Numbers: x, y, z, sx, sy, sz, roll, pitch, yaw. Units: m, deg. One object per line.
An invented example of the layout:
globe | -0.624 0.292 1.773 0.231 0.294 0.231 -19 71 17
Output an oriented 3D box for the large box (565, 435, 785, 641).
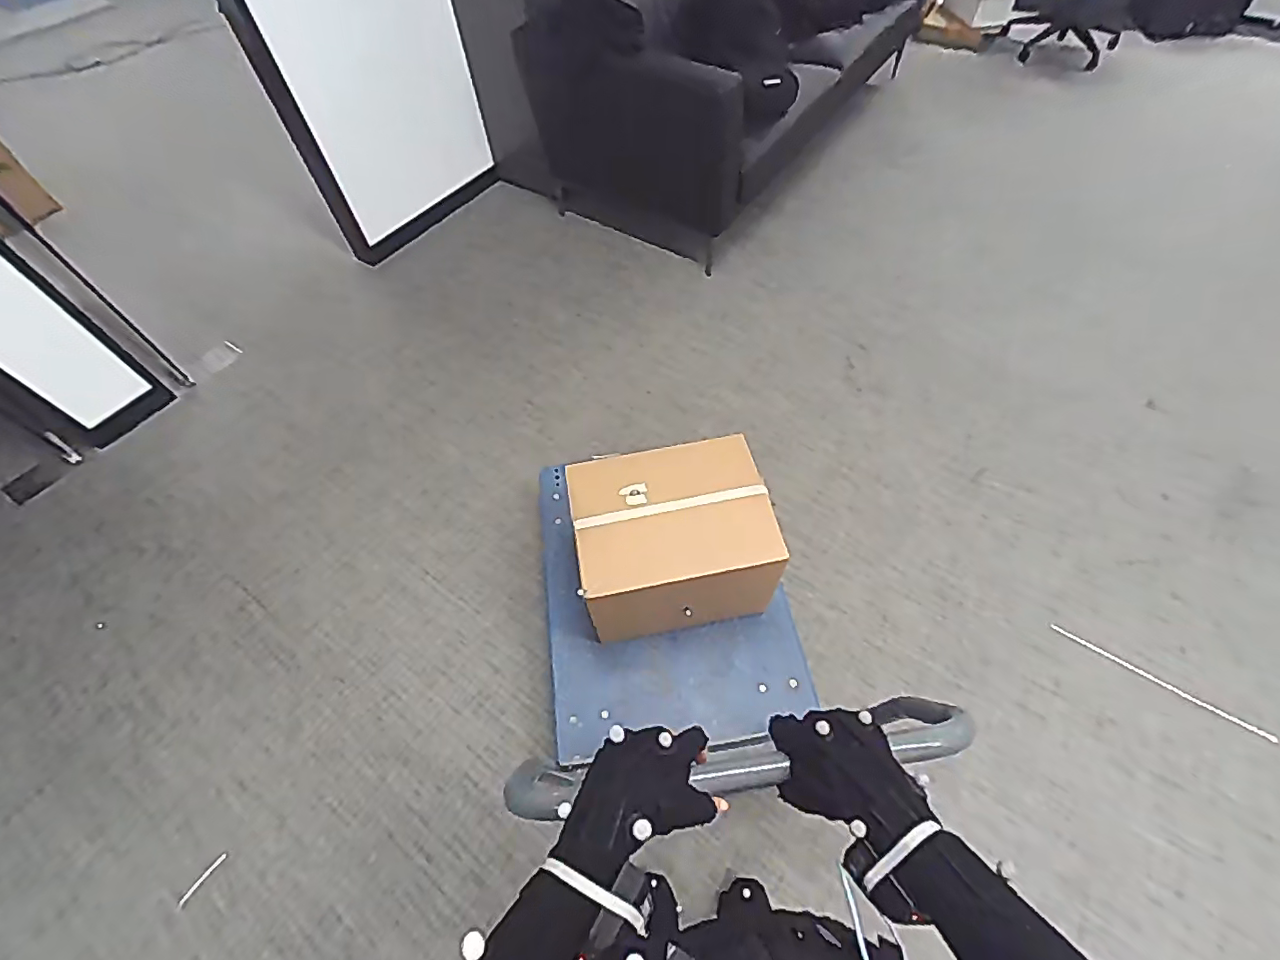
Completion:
large box | 0.068 0.141 1.237 0.408 0.320 0.320 -11 57 -4
